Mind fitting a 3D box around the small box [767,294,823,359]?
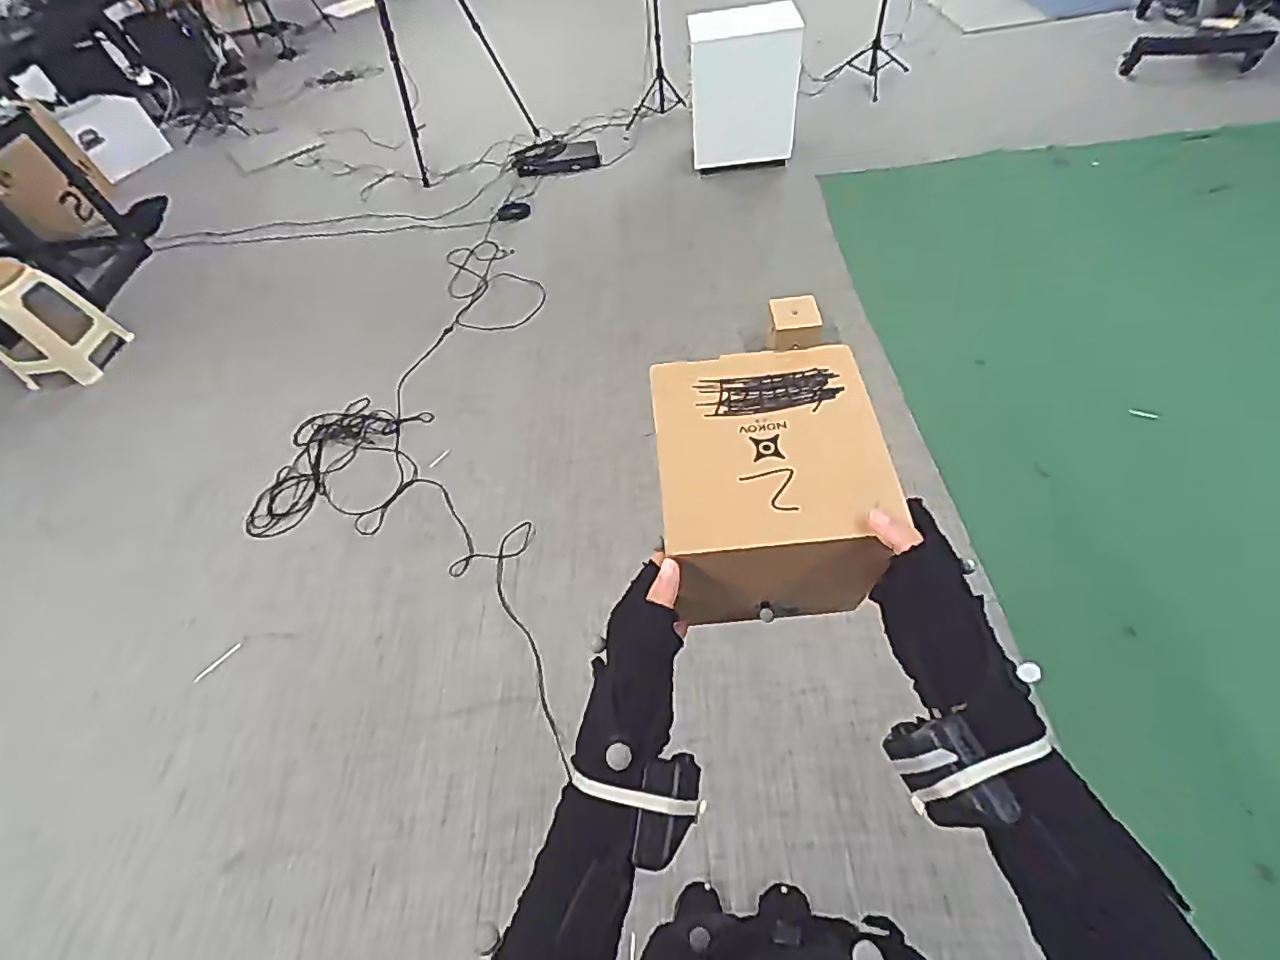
[{"bbox_3d":[0.578,-0.569,2.028,0.168,0.176,0.179,-4,54,4],"label":"small box"}]
